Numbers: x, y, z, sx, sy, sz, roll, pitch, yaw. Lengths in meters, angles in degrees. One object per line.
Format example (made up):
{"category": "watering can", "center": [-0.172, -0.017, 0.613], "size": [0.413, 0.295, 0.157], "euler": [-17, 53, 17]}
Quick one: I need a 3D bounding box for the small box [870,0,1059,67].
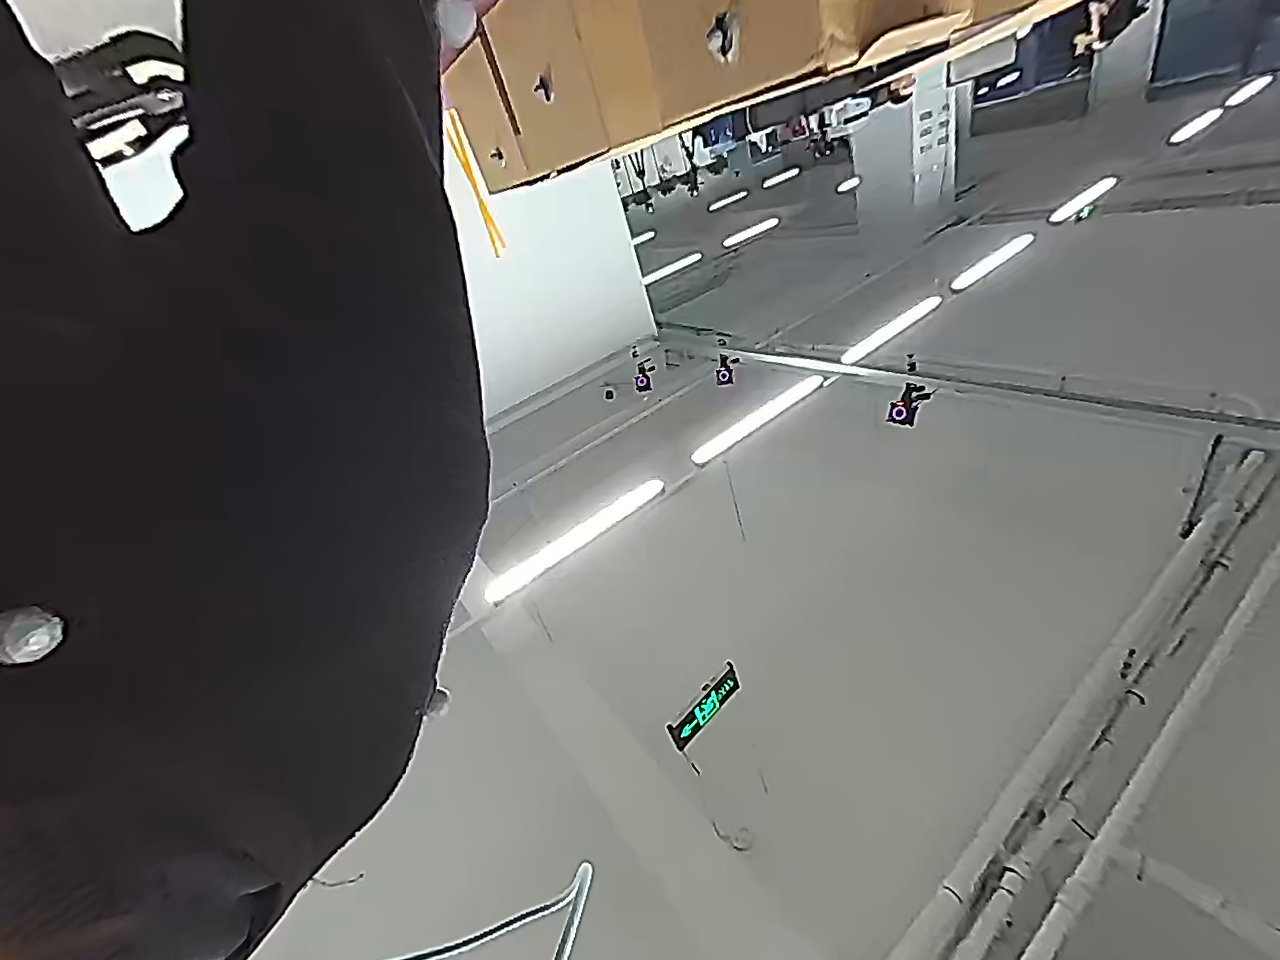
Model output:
{"category": "small box", "center": [0.302, -0.502, 0.473], "size": [0.168, 0.176, 0.179], "euler": [-32, -146, -21]}

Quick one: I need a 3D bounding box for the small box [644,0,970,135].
{"category": "small box", "center": [0.108, -0.383, 0.391], "size": [0.168, 0.176, 0.179], "euler": [-33, -146, -22]}
